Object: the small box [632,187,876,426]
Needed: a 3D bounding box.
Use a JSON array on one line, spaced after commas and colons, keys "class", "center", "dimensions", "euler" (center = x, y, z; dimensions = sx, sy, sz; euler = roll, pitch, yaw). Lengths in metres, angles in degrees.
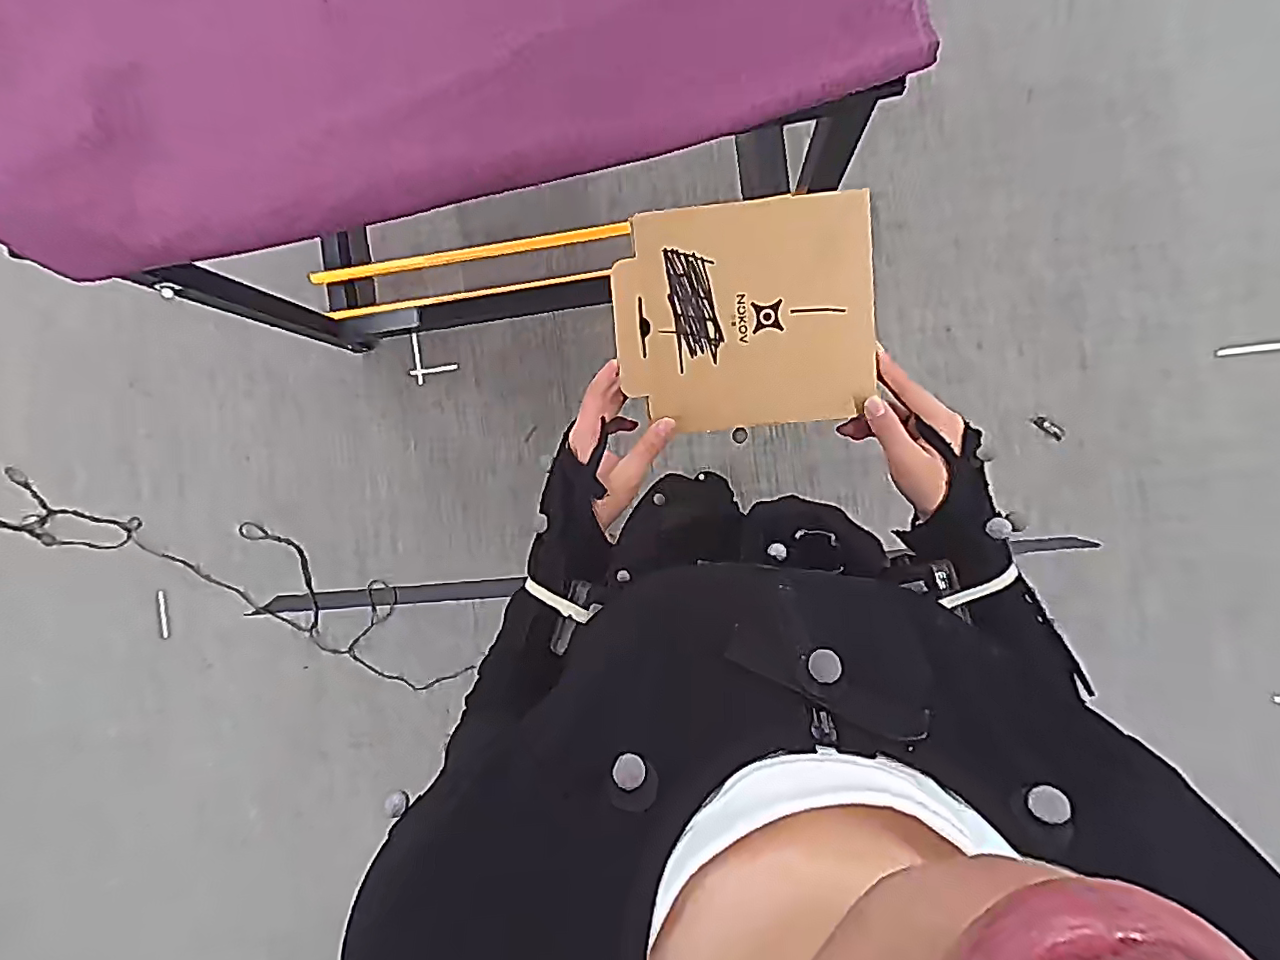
[{"class": "small box", "center": [0.090, -0.136, 0.485], "dimensions": [0.179, 0.176, 0.168], "euler": [-5, 97, 3]}]
